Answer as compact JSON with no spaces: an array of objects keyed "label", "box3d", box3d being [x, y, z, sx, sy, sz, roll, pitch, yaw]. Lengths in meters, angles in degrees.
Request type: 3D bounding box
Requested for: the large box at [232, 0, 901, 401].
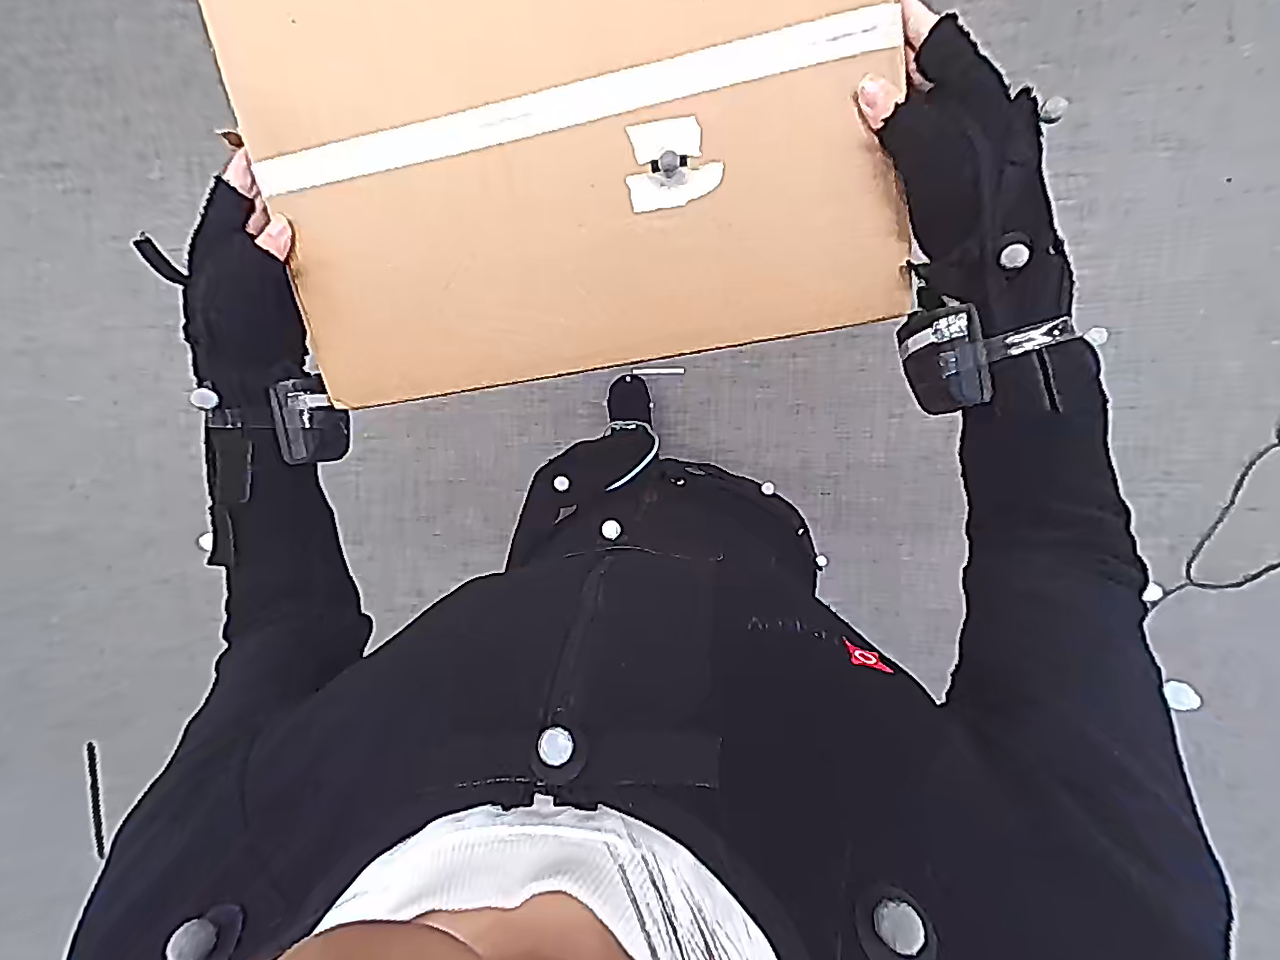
[{"label":"large box","box3d":[-0.037,-0.274,0.489,0.408,0.320,0.320,-9,106,7]}]
